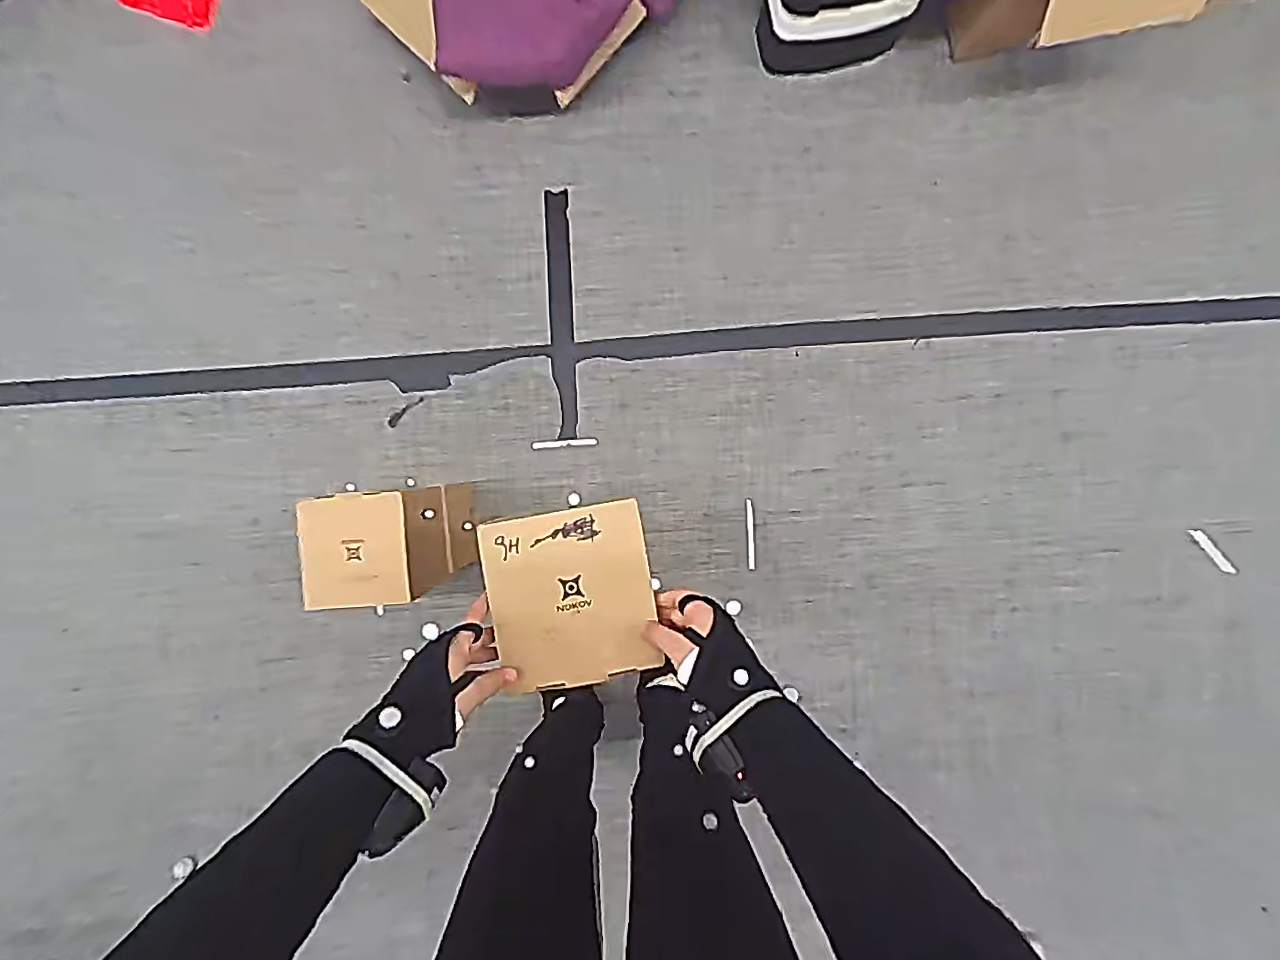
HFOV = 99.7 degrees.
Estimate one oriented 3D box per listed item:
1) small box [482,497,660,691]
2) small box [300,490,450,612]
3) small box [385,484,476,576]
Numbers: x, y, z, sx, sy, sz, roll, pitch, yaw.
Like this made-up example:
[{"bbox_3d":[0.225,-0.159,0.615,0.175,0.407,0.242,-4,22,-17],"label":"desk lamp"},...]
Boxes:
[{"bbox_3d":[-0.074,0.121,0.641,0.168,0.176,0.179,-10,91,-3],"label":"small box"},{"bbox_3d":[-0.434,0.109,0.908,0.168,0.176,0.179,-4,93,1],"label":"small box"},{"bbox_3d":[-0.433,0.099,1.070,0.179,0.176,0.168,-5,92,0],"label":"small box"}]
